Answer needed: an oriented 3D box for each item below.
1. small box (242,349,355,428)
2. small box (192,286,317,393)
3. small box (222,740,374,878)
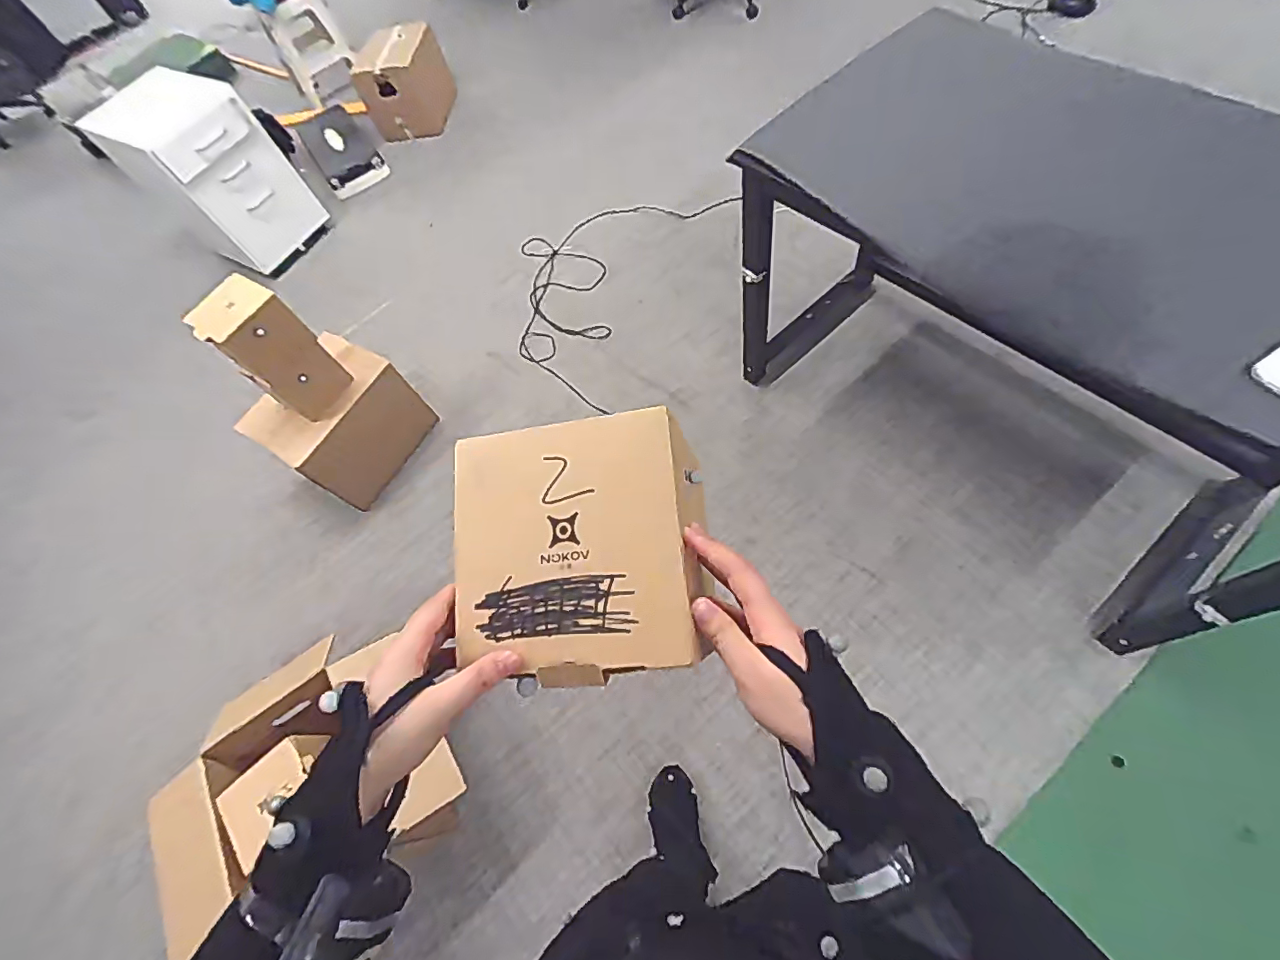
[{"bbox_3d":[-0.963,-0.277,1.541,0.168,0.176,0.179,26,70,21],"label":"small box"},{"bbox_3d":[-0.983,-0.361,1.402,0.168,0.176,0.179,26,71,21],"label":"small box"},{"bbox_3d":[-0.700,0.671,1.121,0.179,0.176,0.168,-42,65,-11],"label":"small box"}]
